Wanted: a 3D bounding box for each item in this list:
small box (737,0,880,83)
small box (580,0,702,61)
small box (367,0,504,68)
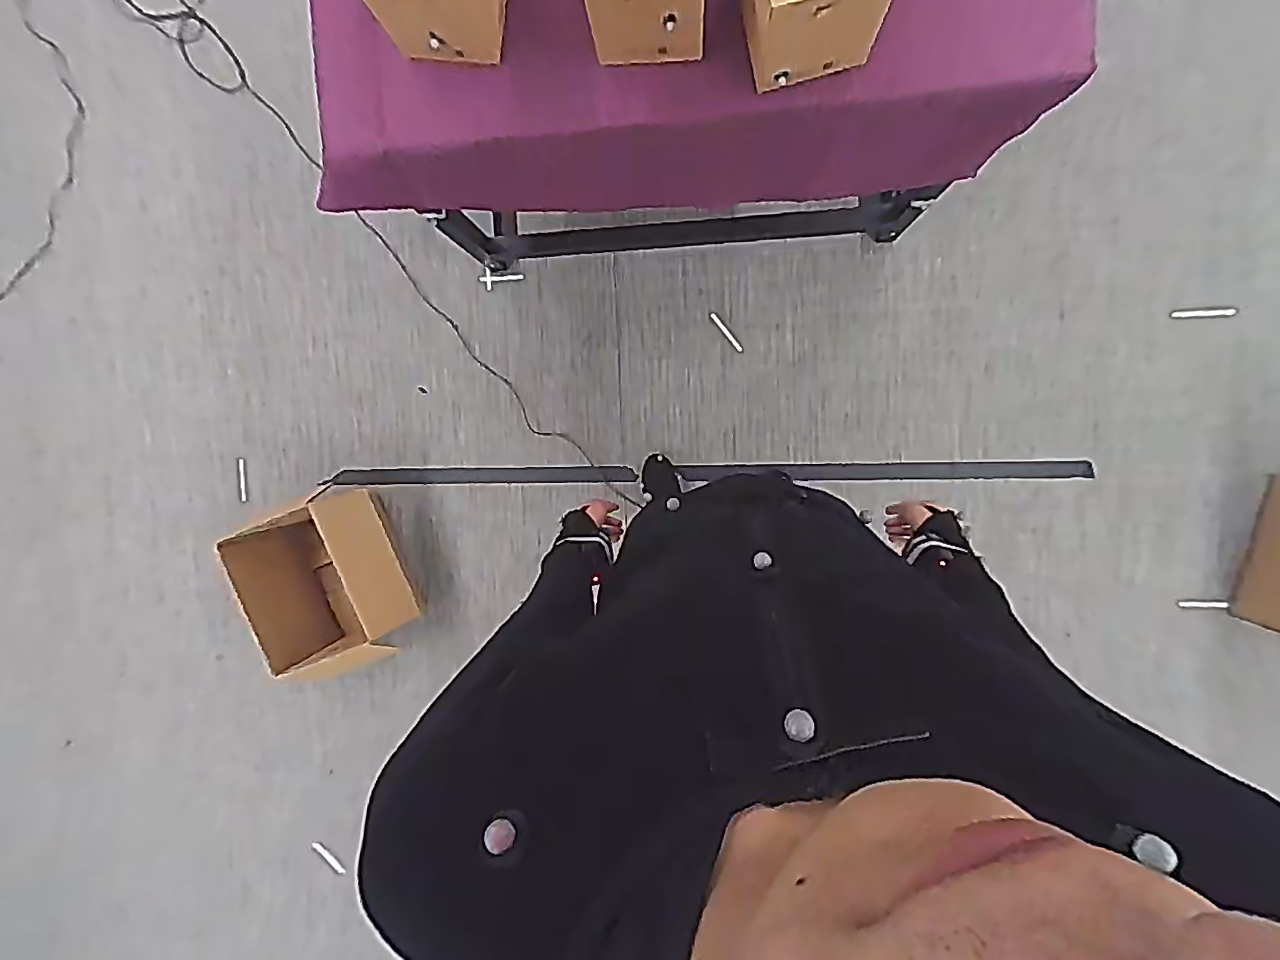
[{"bbox_3d":[0.231,-0.696,0.750,0.168,0.176,0.179,-12,92,7],"label":"small box"},{"bbox_3d":[0.006,-0.738,0.771,0.168,0.176,0.179,2,94,5],"label":"small box"},{"bbox_3d":[-0.309,-0.762,0.799,0.168,0.176,0.179,8,95,5],"label":"small box"}]
